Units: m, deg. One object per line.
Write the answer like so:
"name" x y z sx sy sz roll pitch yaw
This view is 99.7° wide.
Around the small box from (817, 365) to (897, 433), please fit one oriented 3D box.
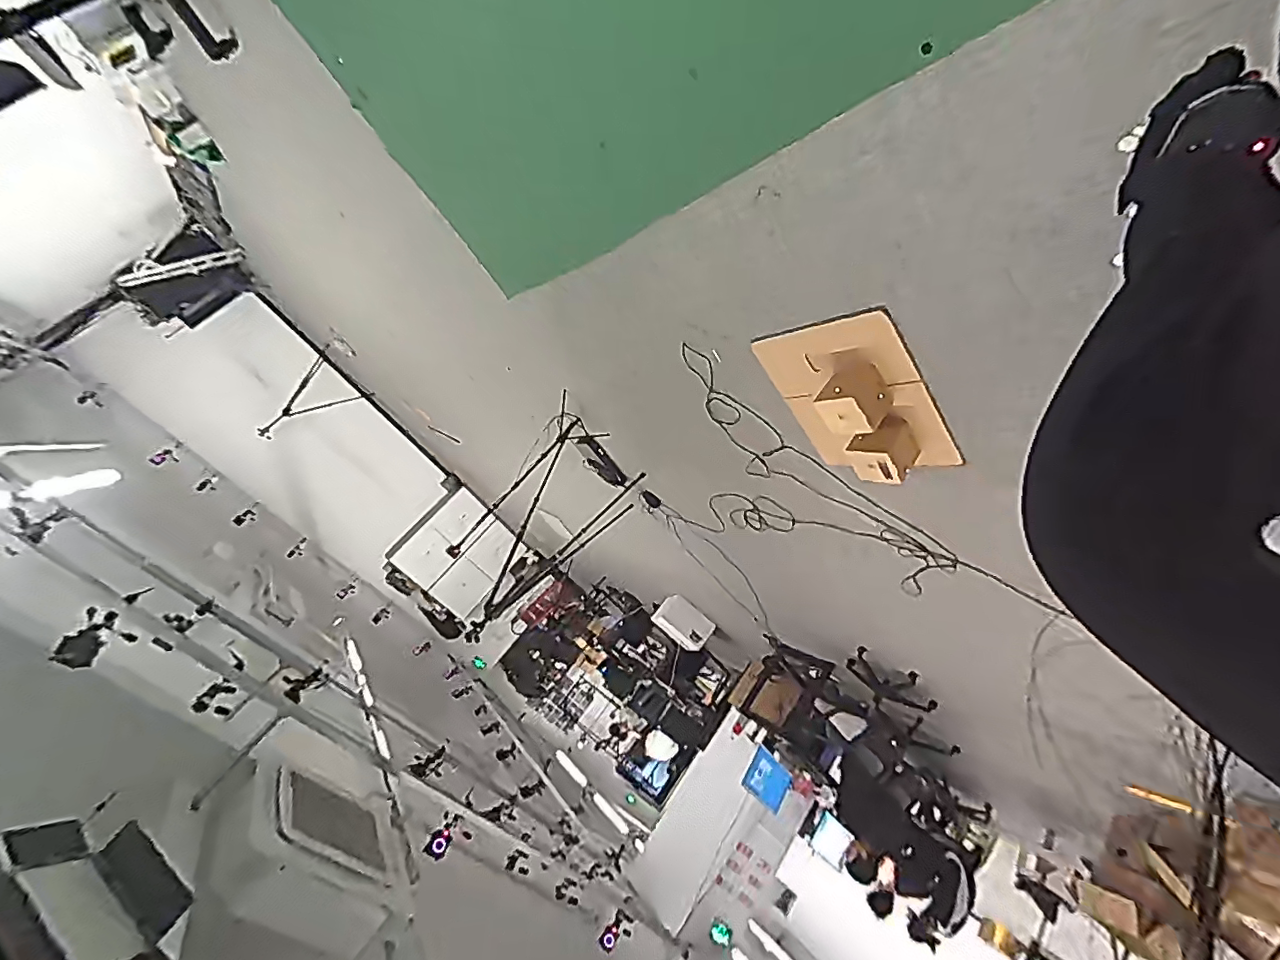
"small box" 0.780 -0.290 1.941 0.168 0.176 0.179 49 157 -22
